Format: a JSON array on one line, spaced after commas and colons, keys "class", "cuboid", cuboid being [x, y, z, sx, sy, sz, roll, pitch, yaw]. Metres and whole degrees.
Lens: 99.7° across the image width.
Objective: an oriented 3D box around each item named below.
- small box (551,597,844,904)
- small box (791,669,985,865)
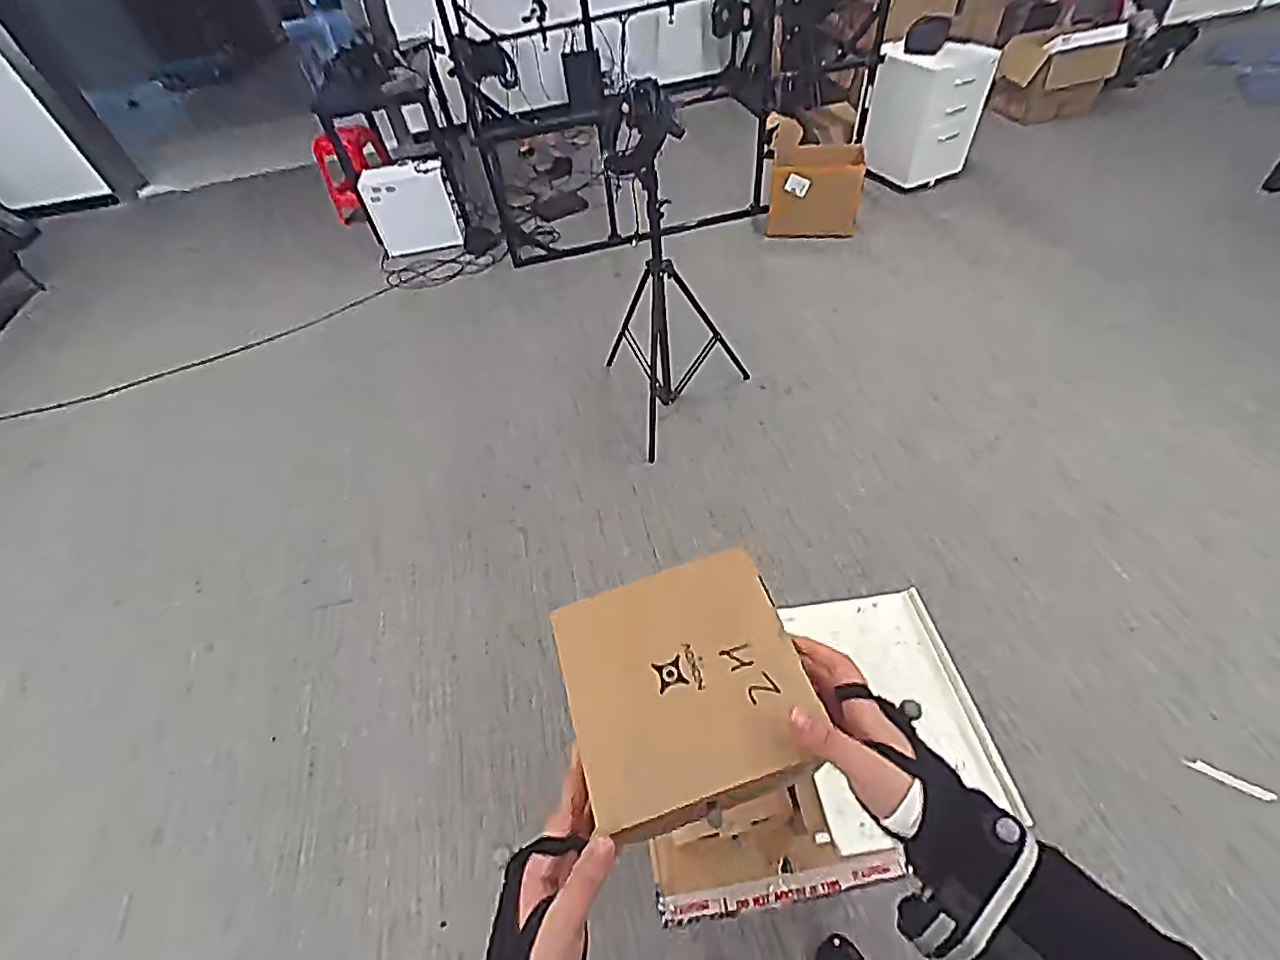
[{"class": "small box", "cuboid": [0.042, 0.229, 0.457, 0.179, 0.176, 0.168, -18, 55, -4]}, {"class": "small box", "cuboid": [0.274, 0.359, 0.675, 0.168, 0.176, 0.179, -7, 52, -2]}]
